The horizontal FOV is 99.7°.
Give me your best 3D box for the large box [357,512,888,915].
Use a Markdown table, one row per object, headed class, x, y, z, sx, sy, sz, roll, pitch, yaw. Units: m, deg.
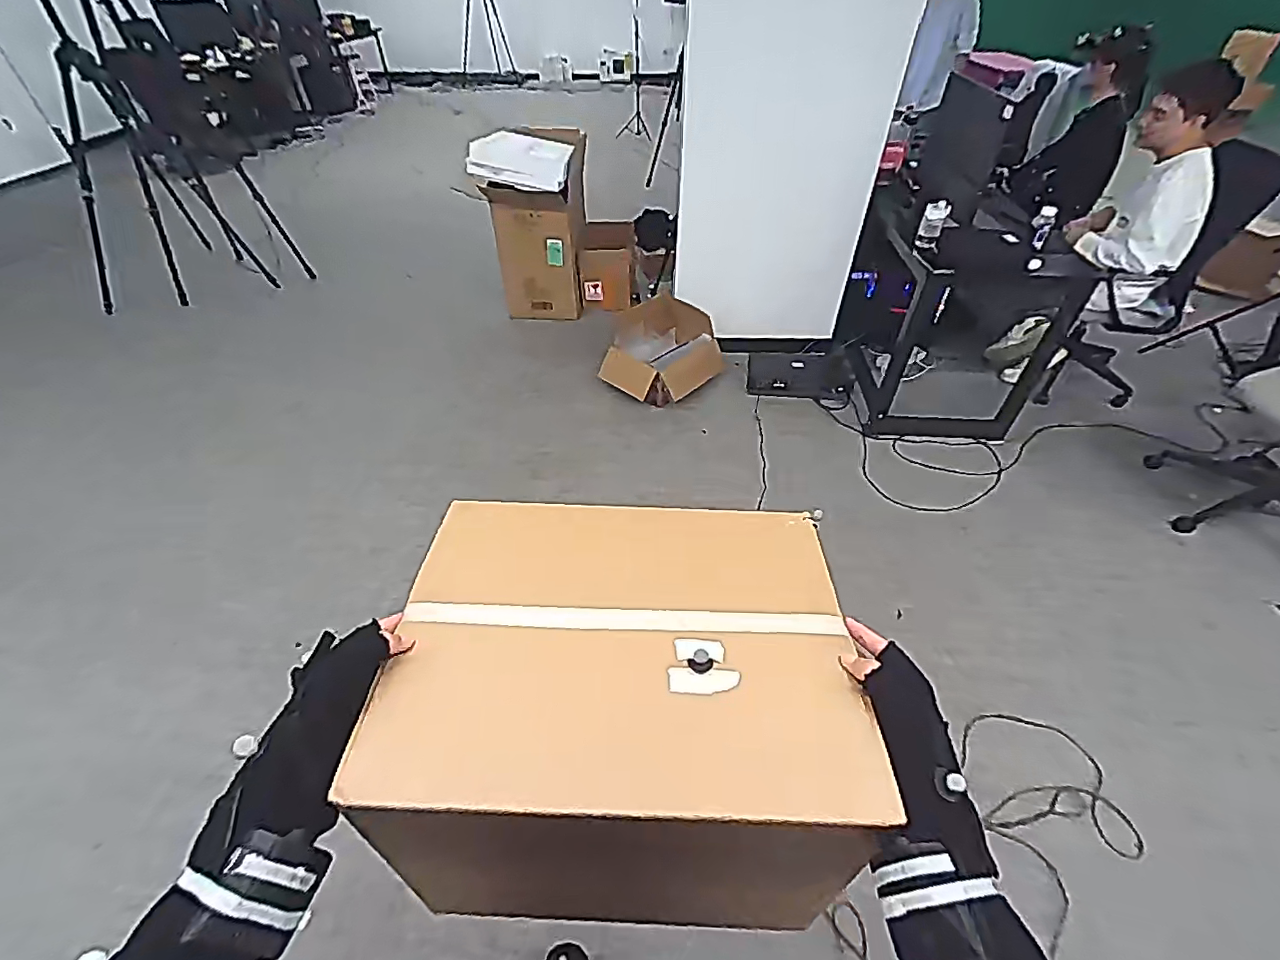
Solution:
| class | x | y | z | sx | sy | sz | roll | pitch | yaw |
| --- | --- | --- | --- | --- | --- | --- | --- | --- | --- |
| large box | -0.016 | 0.254 | 0.605 | 0.408 | 0.320 | 0.320 | 2 | 40 | 0 |
